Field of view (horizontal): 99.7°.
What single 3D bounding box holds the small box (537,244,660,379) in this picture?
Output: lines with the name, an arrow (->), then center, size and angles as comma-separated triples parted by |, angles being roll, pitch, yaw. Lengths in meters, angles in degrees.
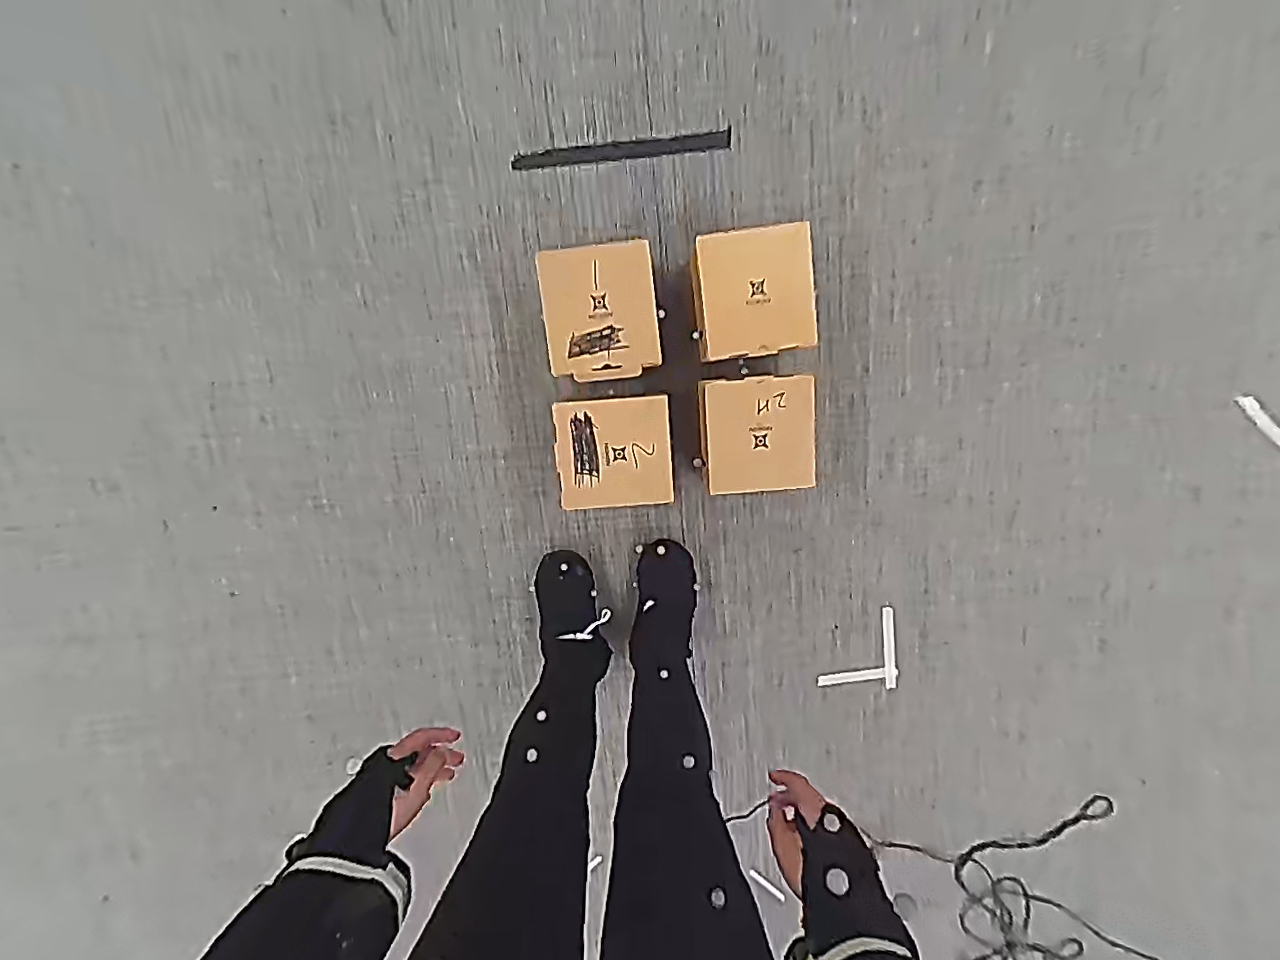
small box -> -0.059, -0.254, 0.854 | 0.168, 0.176, 0.179 | -6, 99, 0
